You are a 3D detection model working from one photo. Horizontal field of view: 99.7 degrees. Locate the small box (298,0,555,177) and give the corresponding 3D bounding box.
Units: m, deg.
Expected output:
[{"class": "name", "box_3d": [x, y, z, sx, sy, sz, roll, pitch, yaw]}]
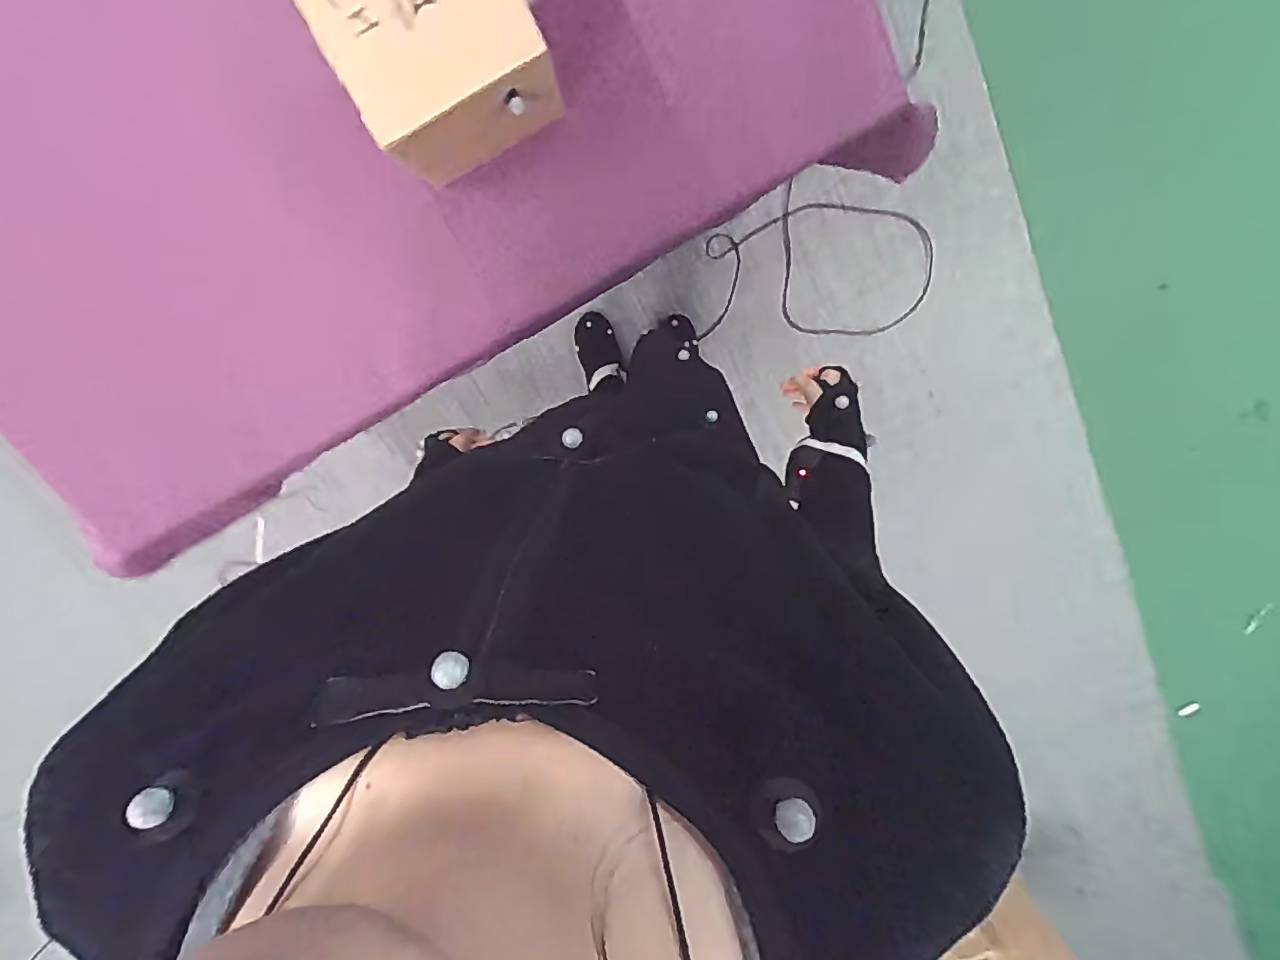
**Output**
[{"class": "small box", "box_3d": [-0.196, -0.433, 0.531, 0.179, 0.176, 0.168, -26, 107, 7]}]
